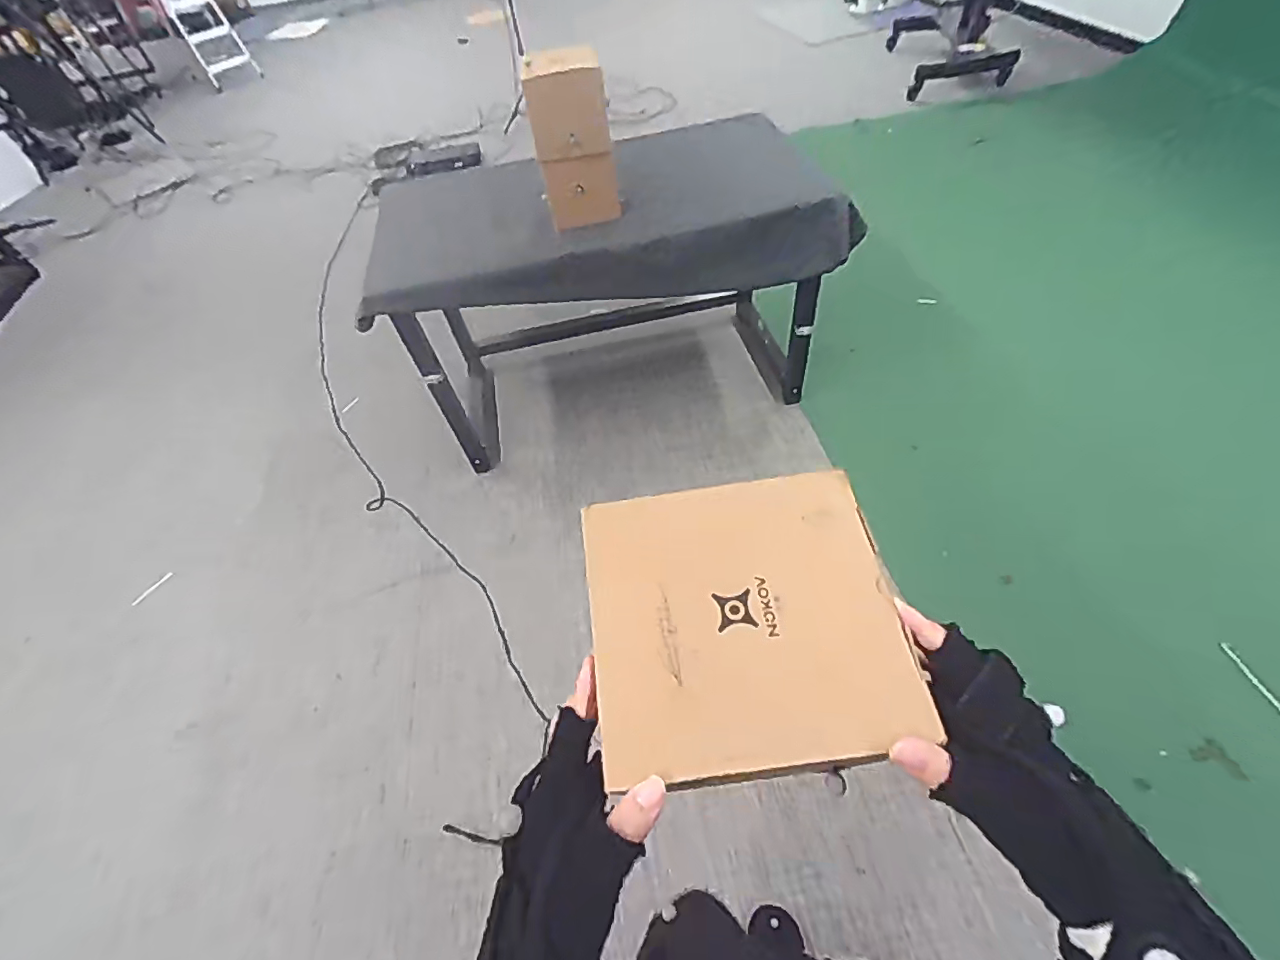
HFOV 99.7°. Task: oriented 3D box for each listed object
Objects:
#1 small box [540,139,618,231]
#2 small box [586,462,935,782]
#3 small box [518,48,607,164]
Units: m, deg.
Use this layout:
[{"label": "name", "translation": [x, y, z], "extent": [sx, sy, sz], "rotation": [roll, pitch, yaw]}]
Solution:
[{"label": "small box", "translation": [-0.156, -0.767, 1.382], "extent": [0.179, 0.176, 0.168], "rotation": [-14, 52, -5]}, {"label": "small box", "translation": [0.066, 0.111, 0.390], "extent": [0.179, 0.176, 0.168], "rotation": [-10, 58, 0]}, {"label": "small box", "translation": [-0.174, -0.862, 1.250], "extent": [0.179, 0.176, 0.168], "rotation": [-10, 51, -2]}]
